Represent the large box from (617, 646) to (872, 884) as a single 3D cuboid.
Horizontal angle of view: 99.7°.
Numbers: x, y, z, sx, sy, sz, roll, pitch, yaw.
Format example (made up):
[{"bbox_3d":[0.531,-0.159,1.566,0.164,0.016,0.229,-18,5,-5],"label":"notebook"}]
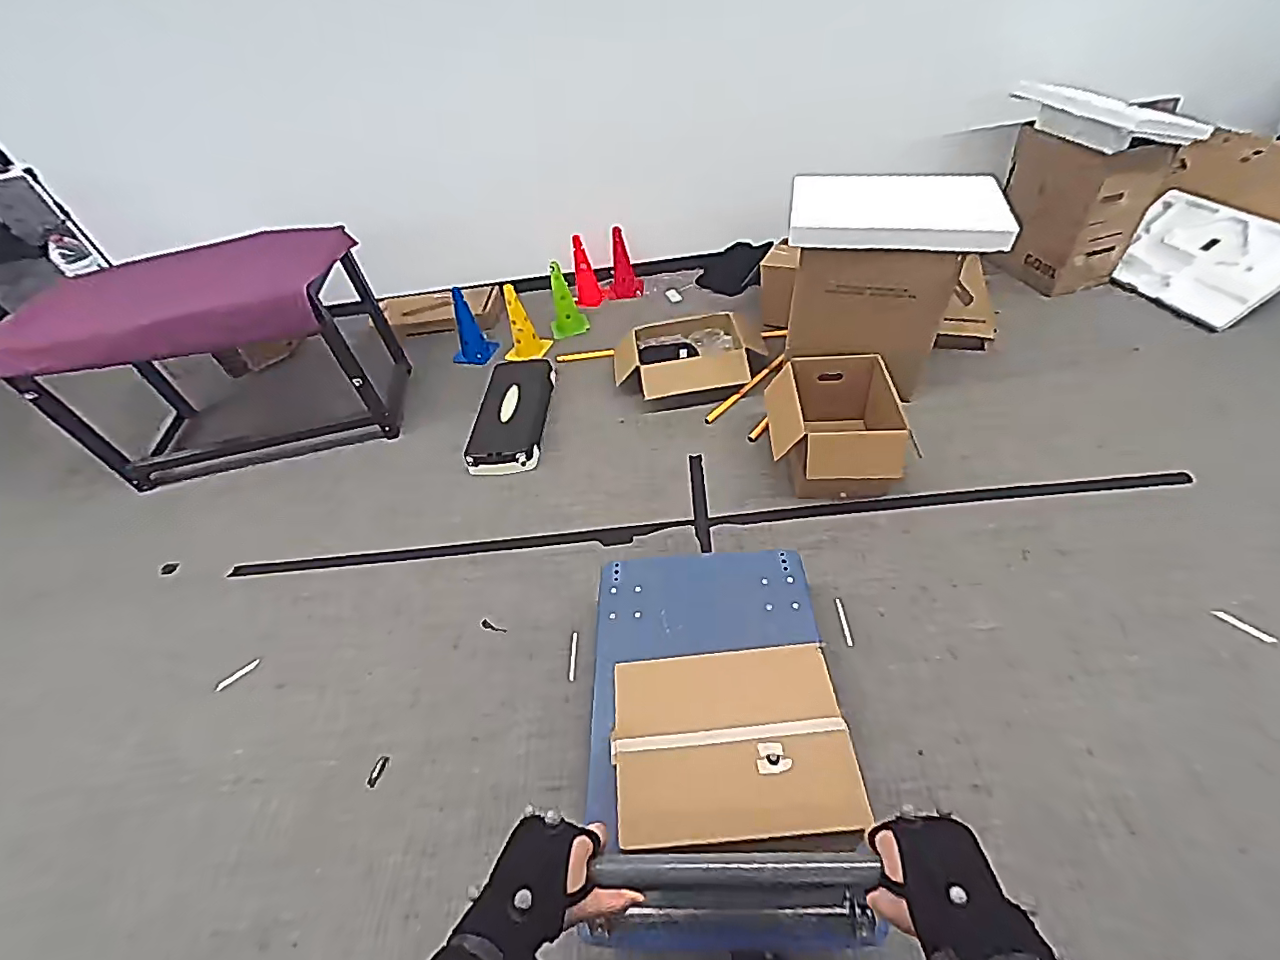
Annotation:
[{"bbox_3d":[0.175,0.562,1.062,0.408,0.320,0.320,-6,46,2],"label":"large box"}]
